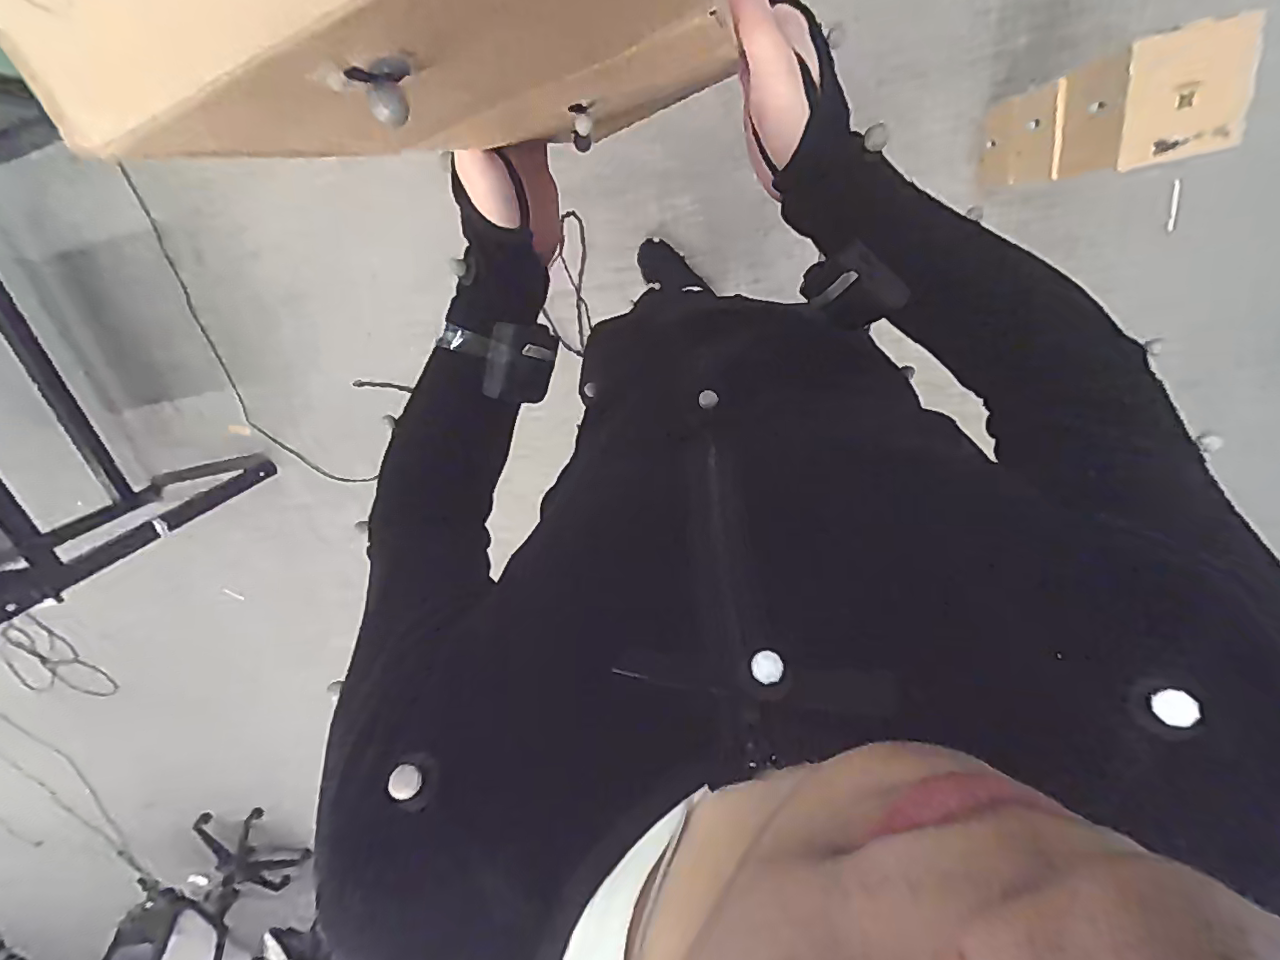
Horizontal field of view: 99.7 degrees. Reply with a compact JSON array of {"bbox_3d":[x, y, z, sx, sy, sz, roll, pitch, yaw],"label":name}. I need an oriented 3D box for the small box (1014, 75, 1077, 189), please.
[{"bbox_3d":[0.845,-0.667,1.027,0.179,0.176,0.168,-8,112,12],"label":"small box"}]

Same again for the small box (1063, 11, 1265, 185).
[{"bbox_3d":[0.826,-0.601,0.877,0.168,0.176,0.179,-7,111,12],"label":"small box"}]

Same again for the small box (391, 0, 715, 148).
[{"bbox_3d":[-0.062,-0.307,0.301,0.179,0.176,0.168,-8,118,22],"label":"small box"}]

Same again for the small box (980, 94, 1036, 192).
[{"bbox_3d":[0.868,-0.734,1.172,0.179,0.176,0.168,-6,113,11],"label":"small box"}]

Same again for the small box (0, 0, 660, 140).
[{"bbox_3d":[-0.102,-0.222,0.167,0.179,0.176,0.168,-8,119,20],"label":"small box"}]
